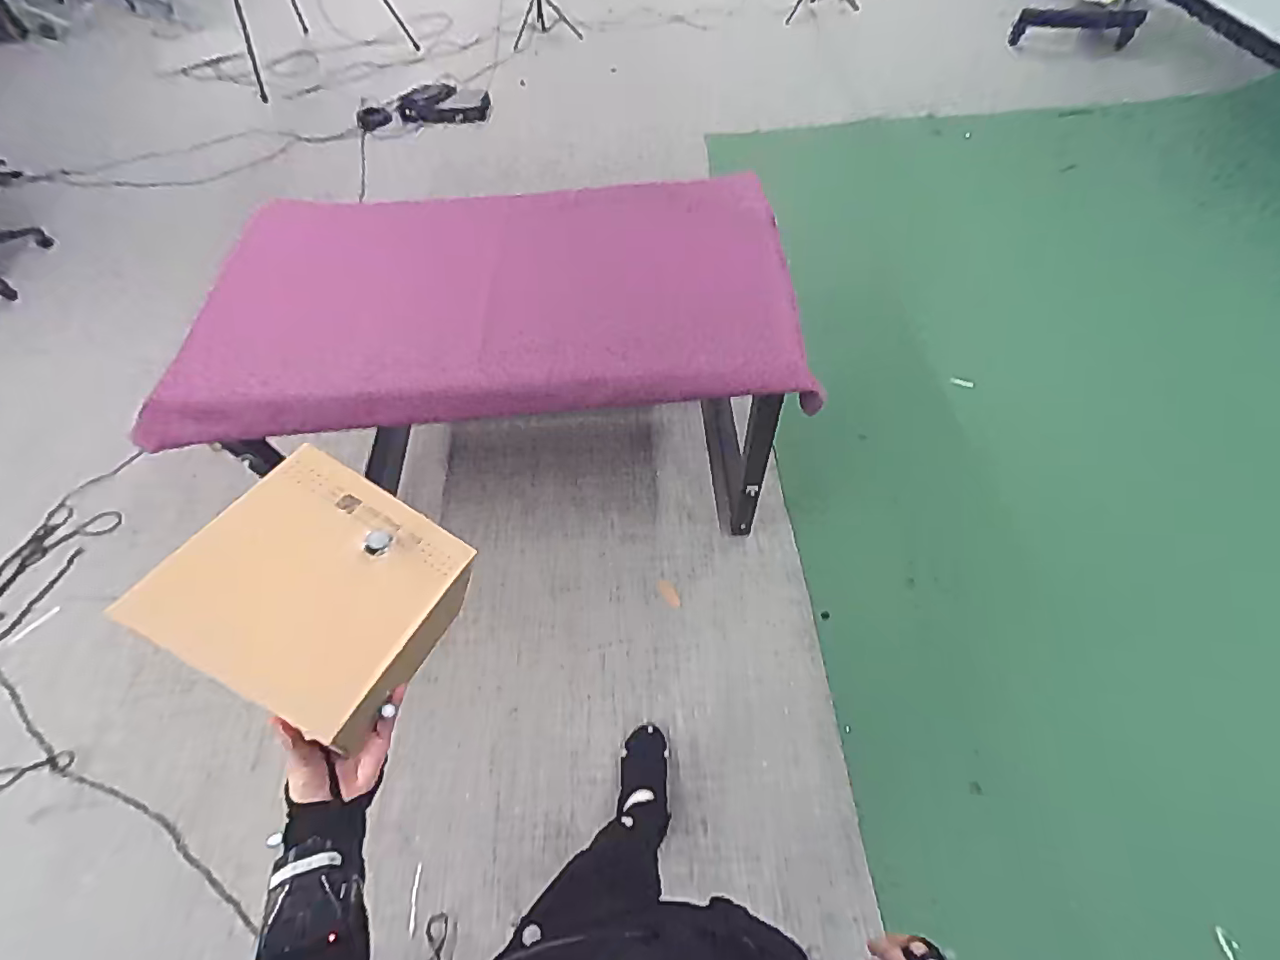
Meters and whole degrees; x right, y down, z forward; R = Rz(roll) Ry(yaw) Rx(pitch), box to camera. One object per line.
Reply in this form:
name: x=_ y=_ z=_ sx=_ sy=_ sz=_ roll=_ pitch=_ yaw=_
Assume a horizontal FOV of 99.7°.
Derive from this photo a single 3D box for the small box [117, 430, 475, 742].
small box: x=-0.262 y=0.093 z=0.462 sx=0.168 sy=0.179 sz=0.176 roll=34 pitch=52 yaw=-3
